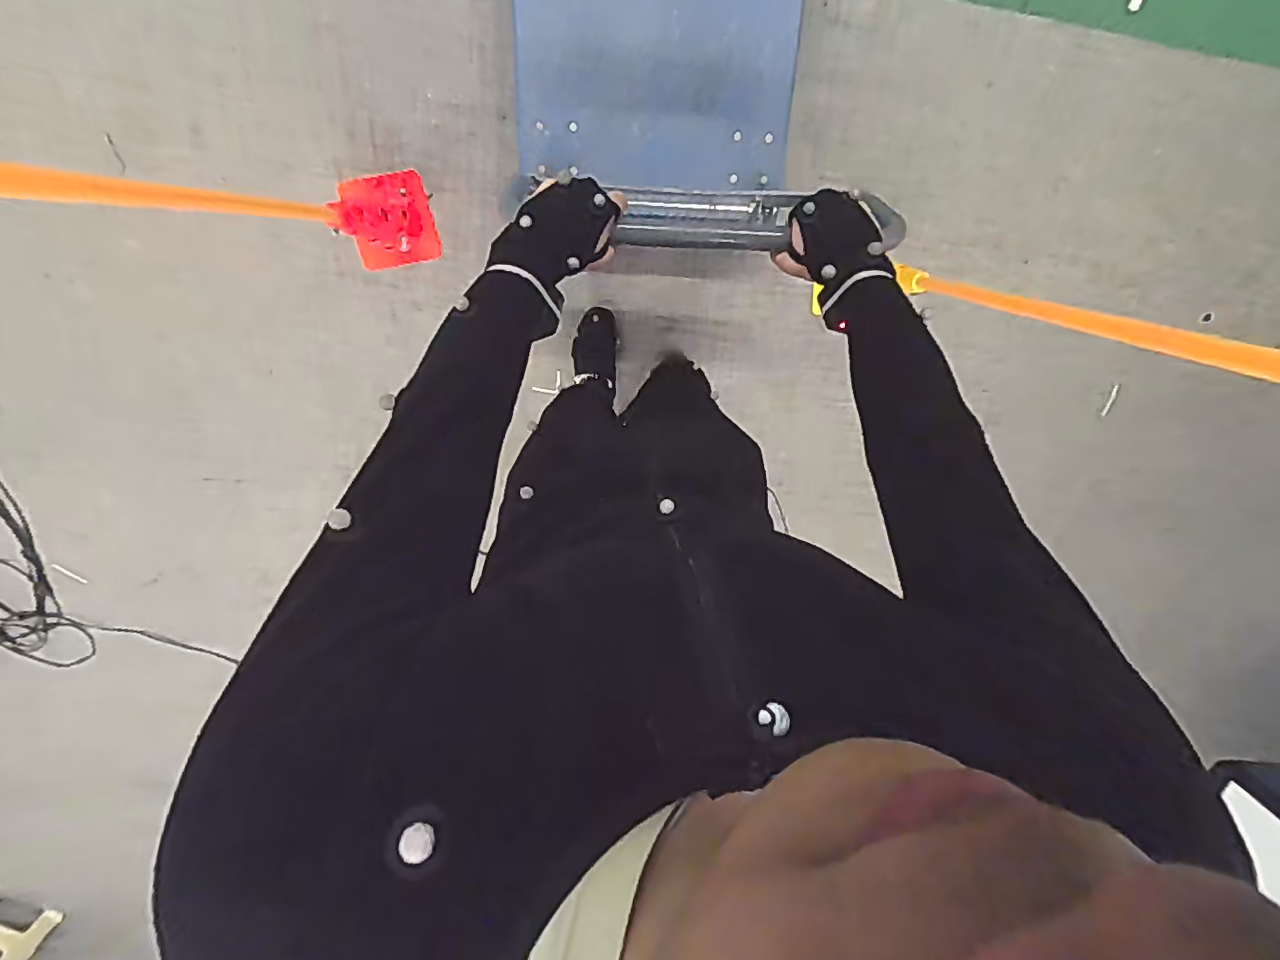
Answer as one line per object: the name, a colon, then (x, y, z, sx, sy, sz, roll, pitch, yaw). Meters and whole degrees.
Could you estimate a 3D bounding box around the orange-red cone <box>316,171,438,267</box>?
orange-red cone: (-0.593, -0.561, 1.154, 0.199, 0.360, 0.198, -9, 114, 0)
